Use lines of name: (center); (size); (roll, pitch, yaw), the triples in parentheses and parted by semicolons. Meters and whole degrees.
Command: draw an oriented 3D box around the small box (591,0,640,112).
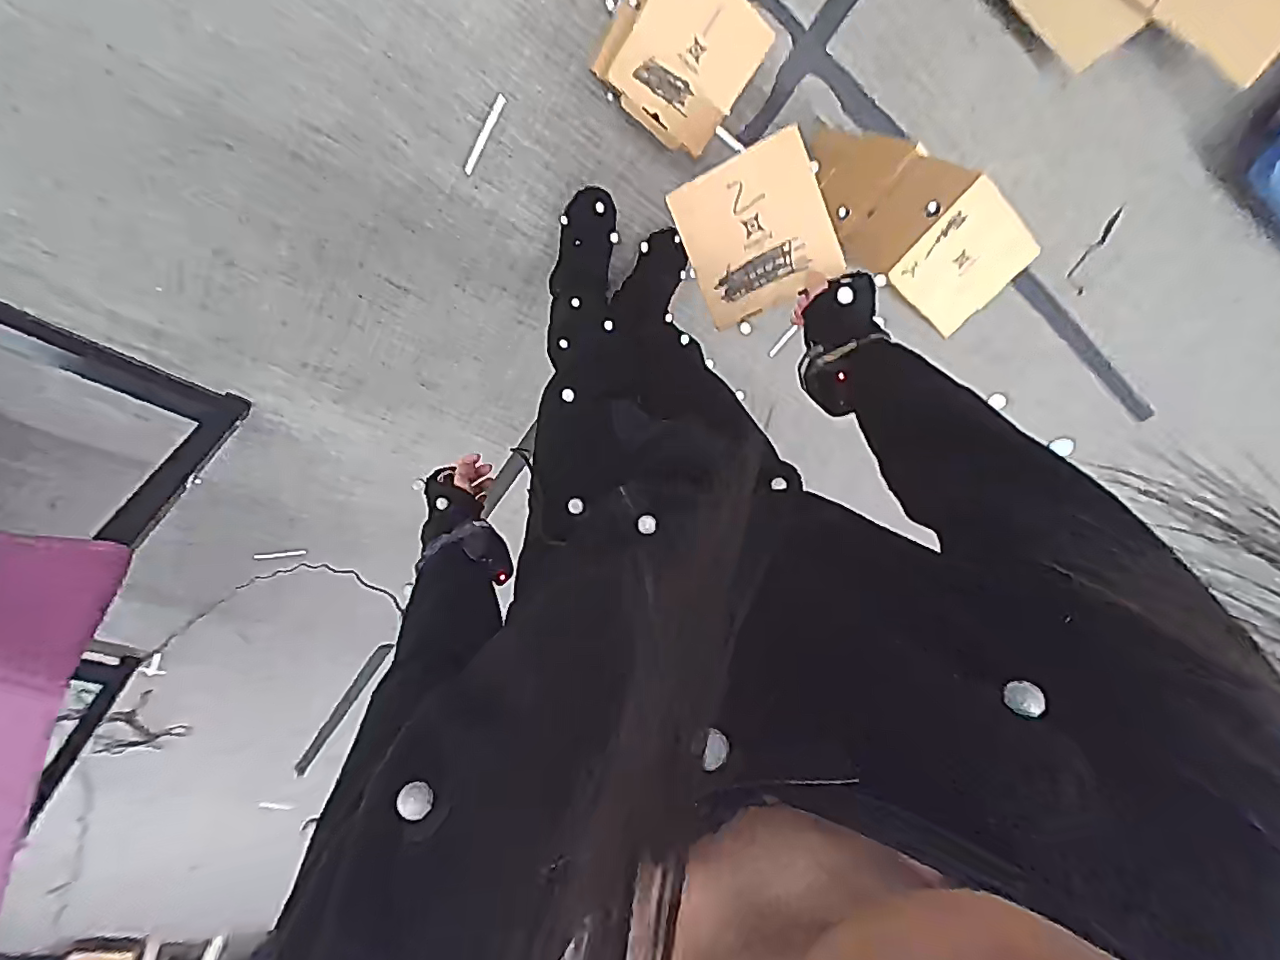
small box: (0.032, -0.719, 0.911); (0.179, 0.176, 0.168); (24, 119, -25)

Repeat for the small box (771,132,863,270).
small box: (0.399, -0.569, 1.095); (0.179, 0.176, 0.168); (30, 117, -30)

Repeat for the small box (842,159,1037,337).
small box: (0.458, -0.366, 0.847); (0.179, 0.176, 0.168); (27, 120, -30)

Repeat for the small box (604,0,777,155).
small box: (0.060, -0.615, 0.786); (0.168, 0.176, 0.179); (26, 118, -27)

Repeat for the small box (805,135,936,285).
small box: (0.430, -0.477, 0.964); (0.168, 0.176, 0.179); (25, 120, -28)
